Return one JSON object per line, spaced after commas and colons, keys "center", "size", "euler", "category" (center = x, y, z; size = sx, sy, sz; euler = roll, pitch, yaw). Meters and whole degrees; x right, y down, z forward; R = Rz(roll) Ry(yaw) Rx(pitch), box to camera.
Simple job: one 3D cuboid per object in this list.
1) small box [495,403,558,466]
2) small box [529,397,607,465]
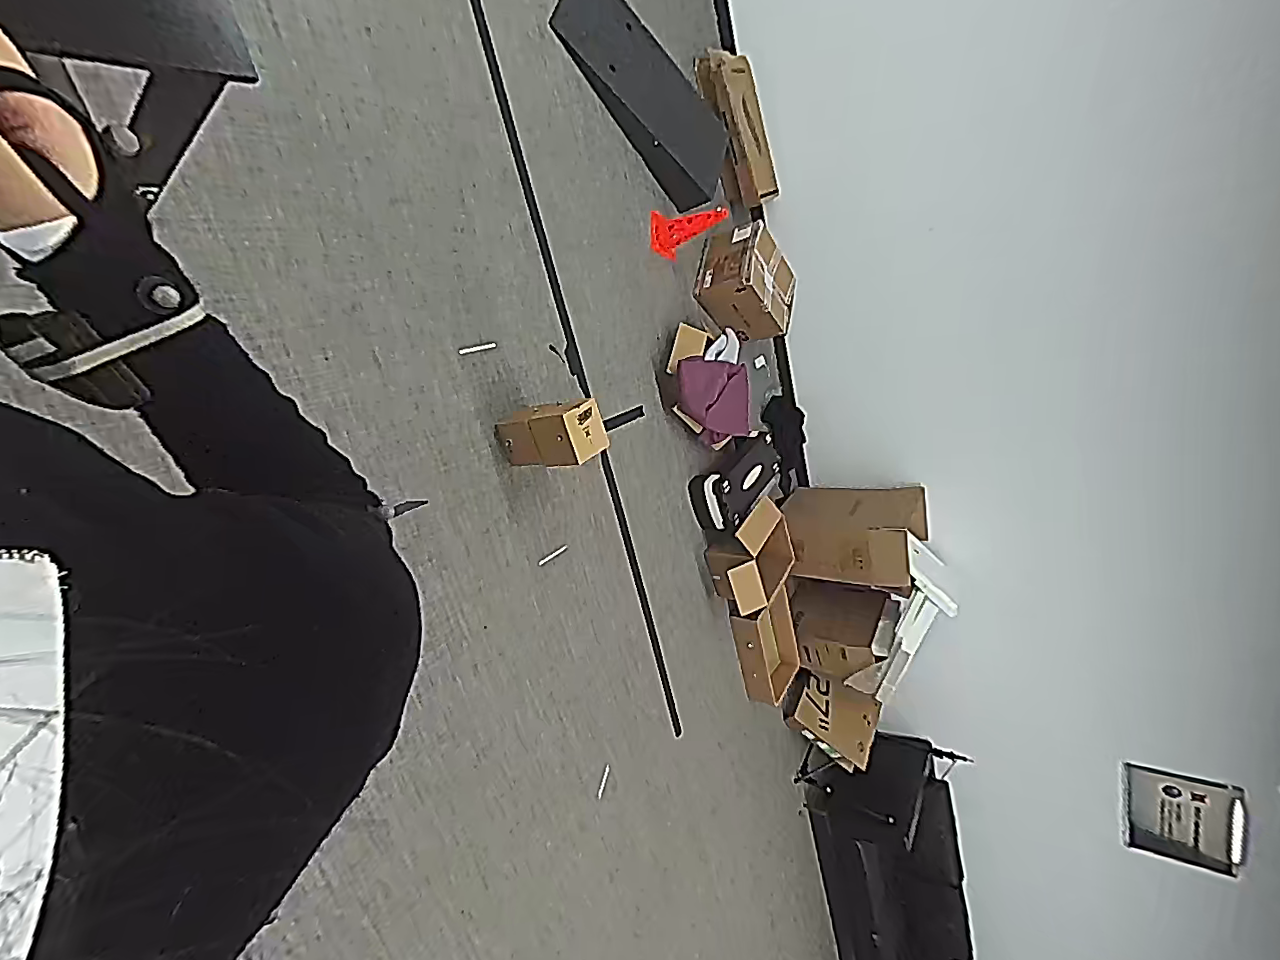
{"center": [-0.373, -0.160, 1.898], "size": [0.179, 0.176, 0.168], "euler": [-40, 118, -43], "category": "small box"}
{"center": [-0.242, -0.159, 1.798], "size": [0.168, 0.176, 0.179], "euler": [-38, 118, -45], "category": "small box"}
